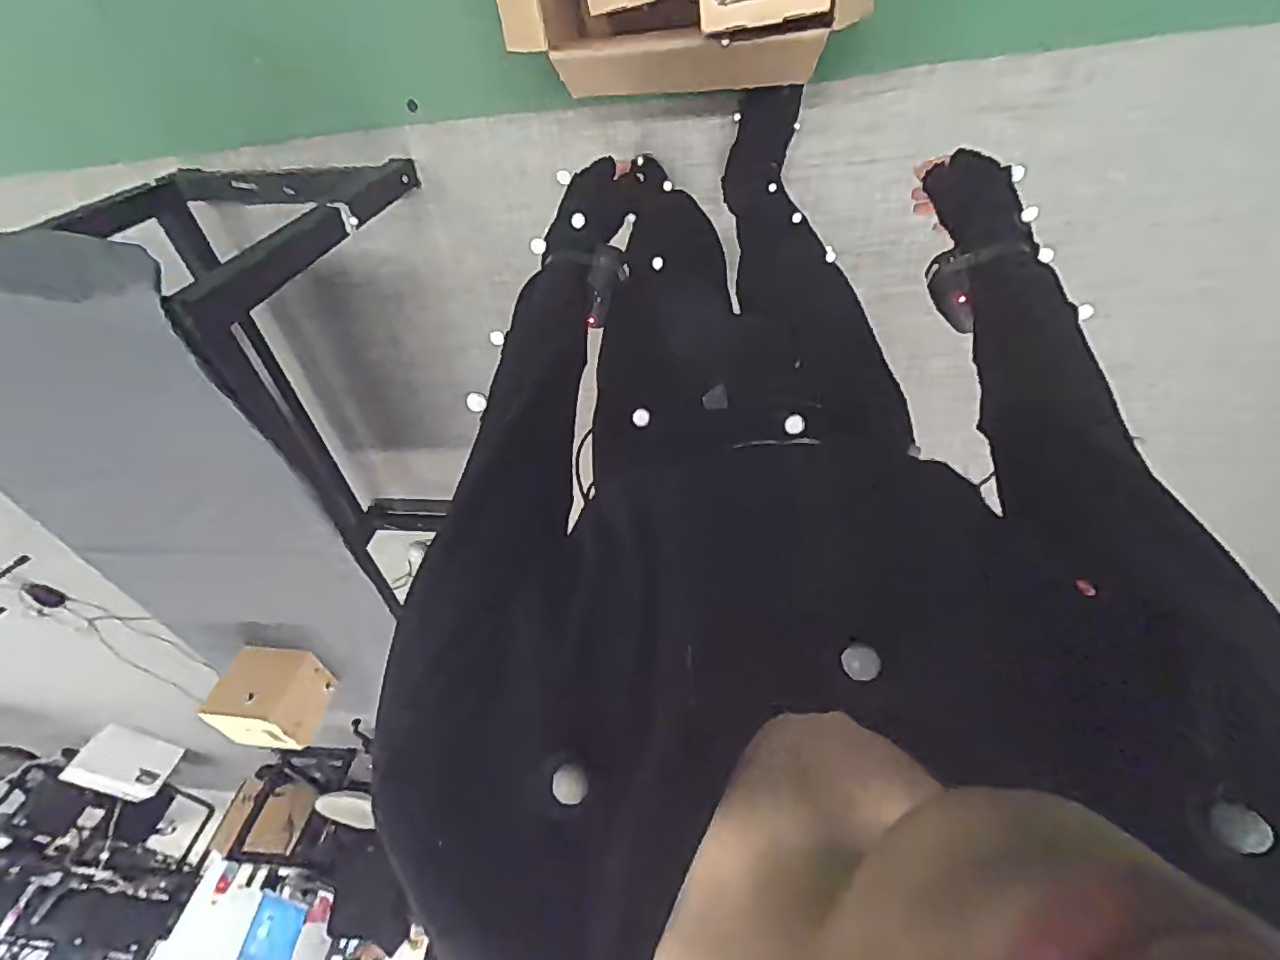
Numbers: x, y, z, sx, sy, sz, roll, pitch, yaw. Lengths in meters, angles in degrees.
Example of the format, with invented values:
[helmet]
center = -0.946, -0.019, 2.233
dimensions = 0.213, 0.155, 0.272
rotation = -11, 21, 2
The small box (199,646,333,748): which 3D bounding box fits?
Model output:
[small box]
center = -0.864, 0.509, 1.277
dimensions = 0.179, 0.176, 0.168
rotation = 3, 133, 7
